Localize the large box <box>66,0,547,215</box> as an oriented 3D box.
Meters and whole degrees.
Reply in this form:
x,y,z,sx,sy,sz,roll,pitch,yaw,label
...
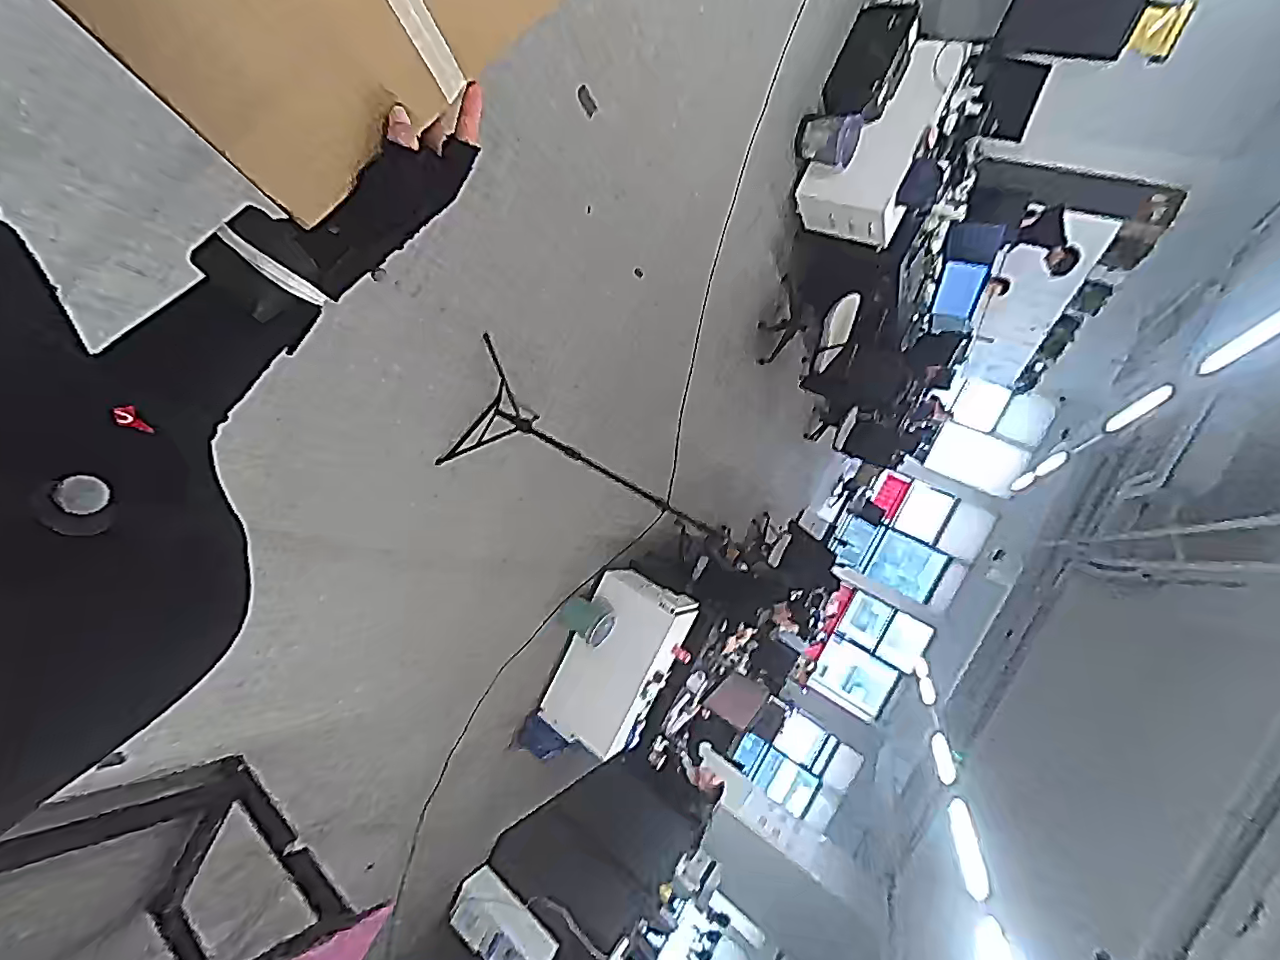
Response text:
x,y,z,sx,sy,sz,roll,pitch,yaw,label
-0.303,-0.466,0.311,0.320,0.320,0.408,-45,155,-4,large box
